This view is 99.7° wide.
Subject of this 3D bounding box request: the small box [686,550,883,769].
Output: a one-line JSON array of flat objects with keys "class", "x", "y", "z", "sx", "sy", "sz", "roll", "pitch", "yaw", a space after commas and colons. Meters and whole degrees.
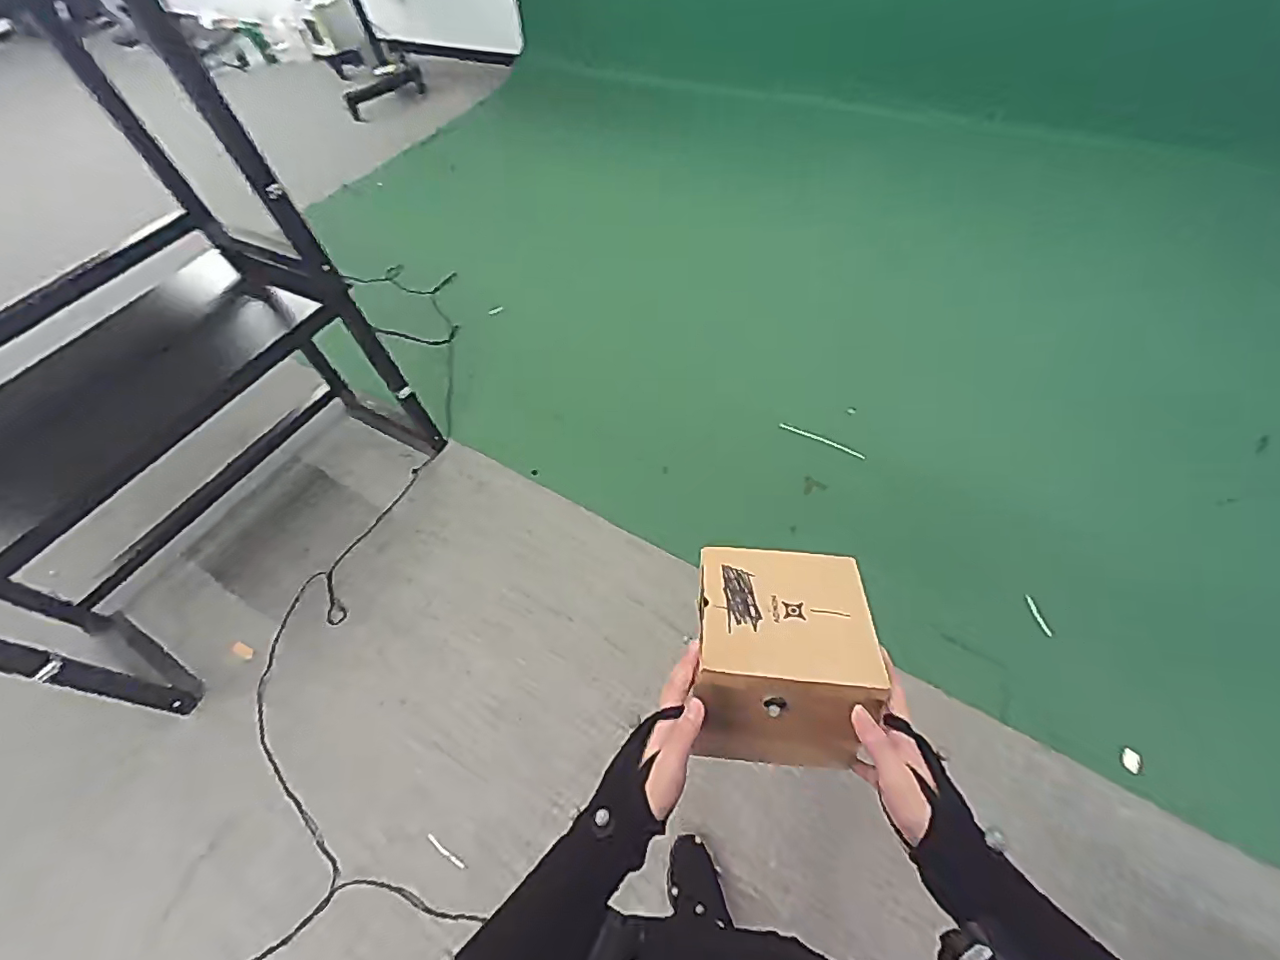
[{"class": "small box", "x": 0.144, "y": 0.200, "z": 0.606, "sx": 0.179, "sy": 0.176, "sz": 0.168, "roll": 4, "pitch": 38, "yaw": 4}]
